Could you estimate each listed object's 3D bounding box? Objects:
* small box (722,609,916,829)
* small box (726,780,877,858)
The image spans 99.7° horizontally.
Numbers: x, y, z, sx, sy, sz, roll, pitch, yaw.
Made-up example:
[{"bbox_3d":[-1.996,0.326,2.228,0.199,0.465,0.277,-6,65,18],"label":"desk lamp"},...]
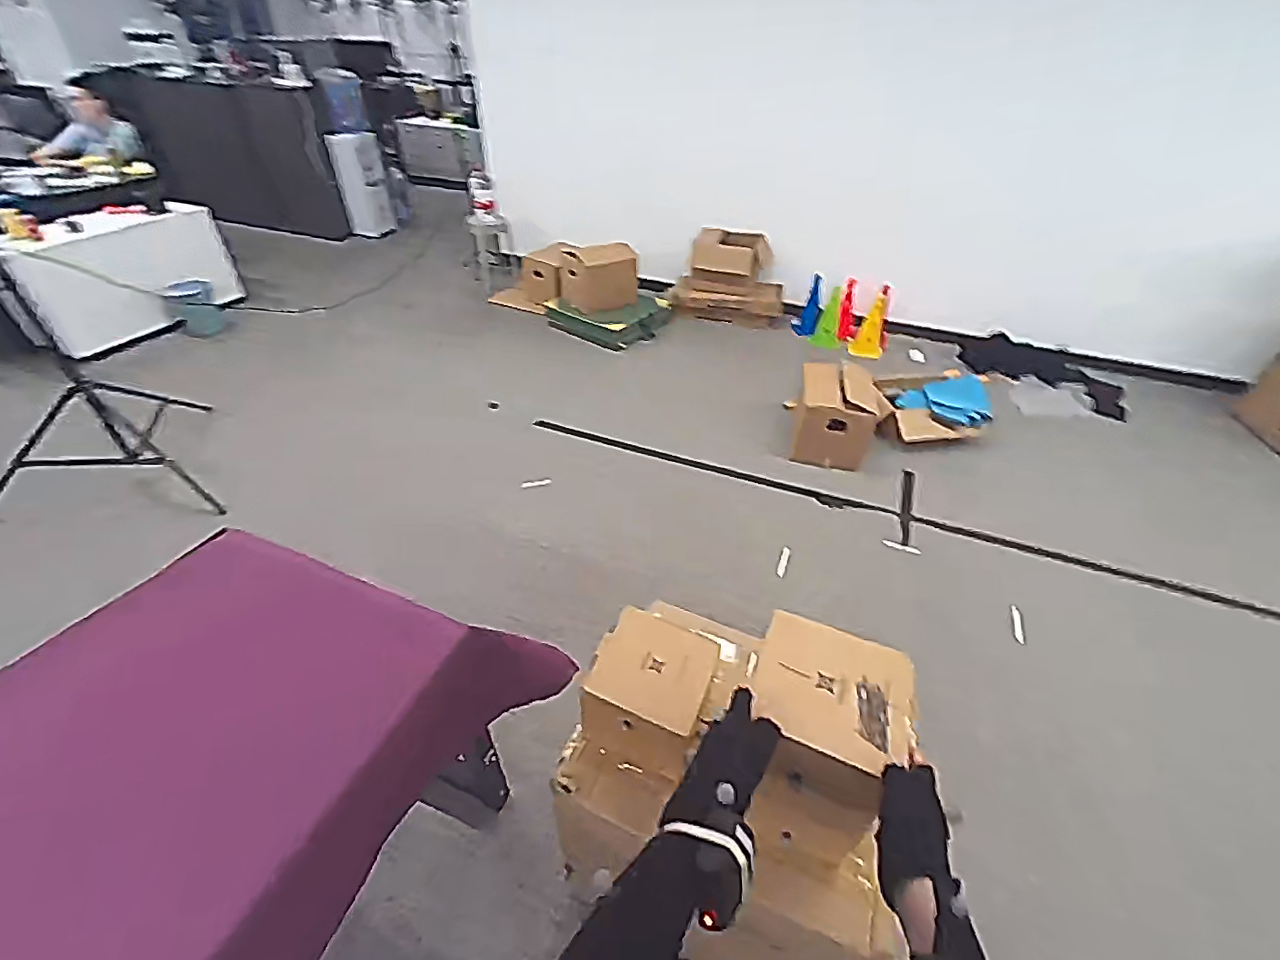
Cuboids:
[{"bbox_3d":[0.219,0.302,0.678,0.179,0.176,0.168,19,42,16],"label":"small box"},{"bbox_3d":[0.235,0.424,0.800,0.179,0.176,0.168,12,41,13],"label":"small box"}]
